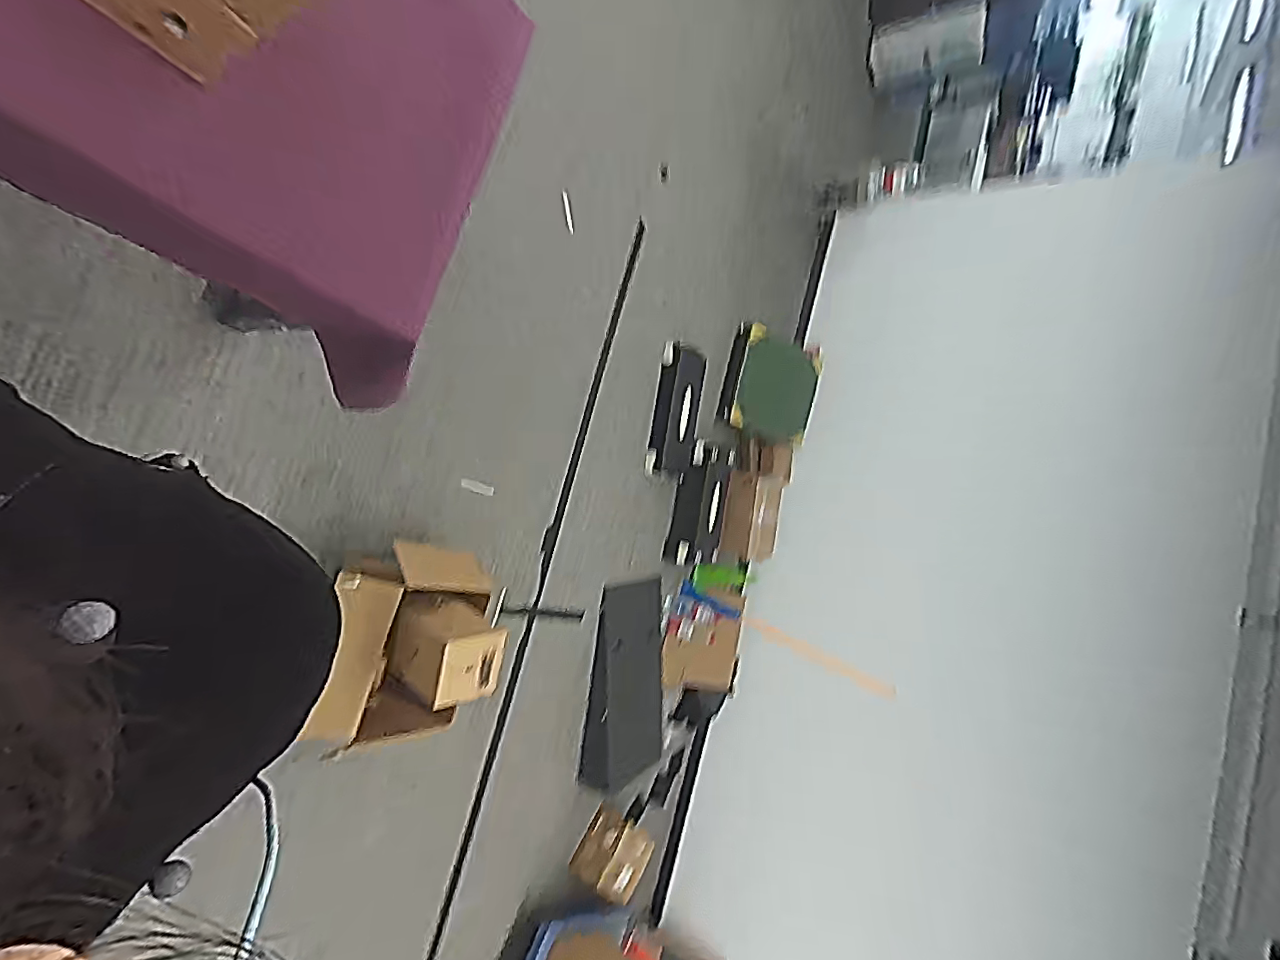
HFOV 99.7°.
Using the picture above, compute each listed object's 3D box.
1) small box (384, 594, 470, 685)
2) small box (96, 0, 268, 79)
[{"bbox_3d":[-0.597,0.432,1.509,0.168,0.176,0.179,-8,109,-50],"label":"small box"},{"bbox_3d":[-0.447,-0.533,0.512,0.168,0.176,0.179,26,77,-55],"label":"small box"}]
